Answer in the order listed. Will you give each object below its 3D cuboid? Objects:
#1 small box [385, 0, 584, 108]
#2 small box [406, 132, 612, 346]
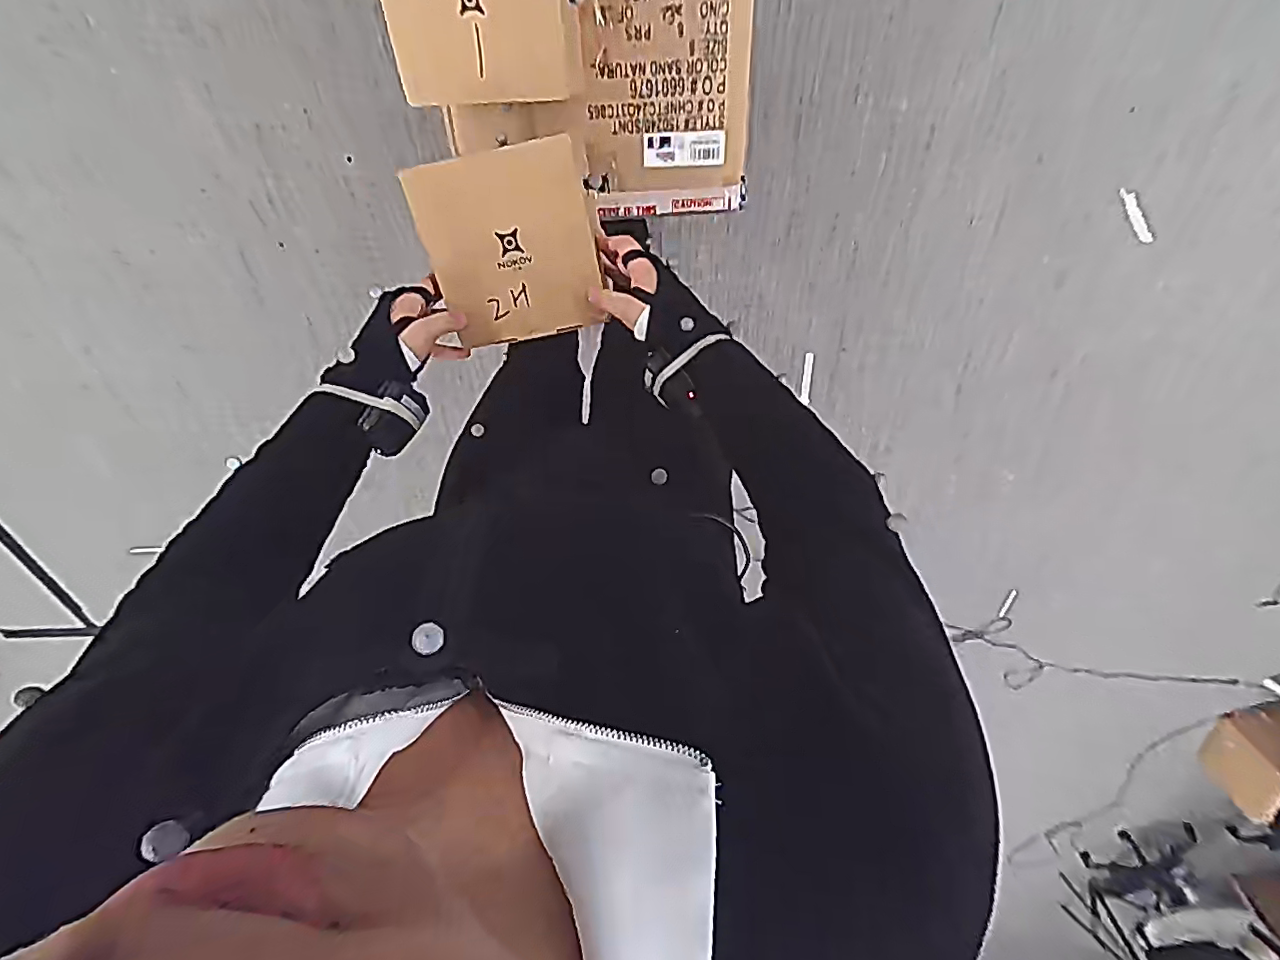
[{"bbox_3d":[-0.150,-0.489,0.547,0.168,0.176,0.179,-1,129,1],"label":"small box"},{"bbox_3d":[-0.129,-0.273,0.608,0.168,0.176,0.179,-10,122,4],"label":"small box"}]
